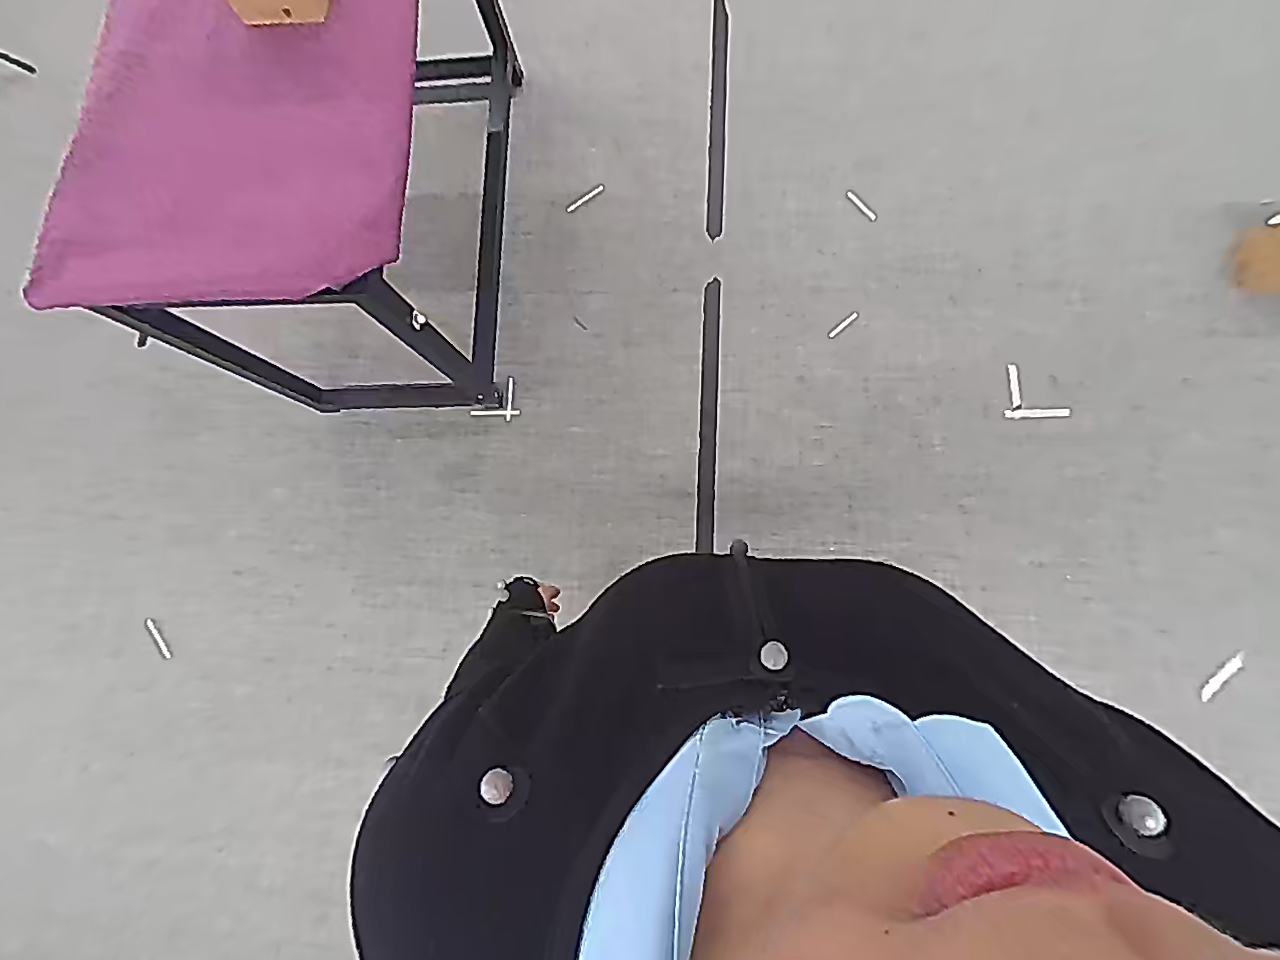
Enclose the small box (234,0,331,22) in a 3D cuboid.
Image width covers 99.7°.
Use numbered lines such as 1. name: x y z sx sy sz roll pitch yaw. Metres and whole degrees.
1. small box: -0.669 -0.962 0.961 0.168 0.176 0.179 3 80 5
